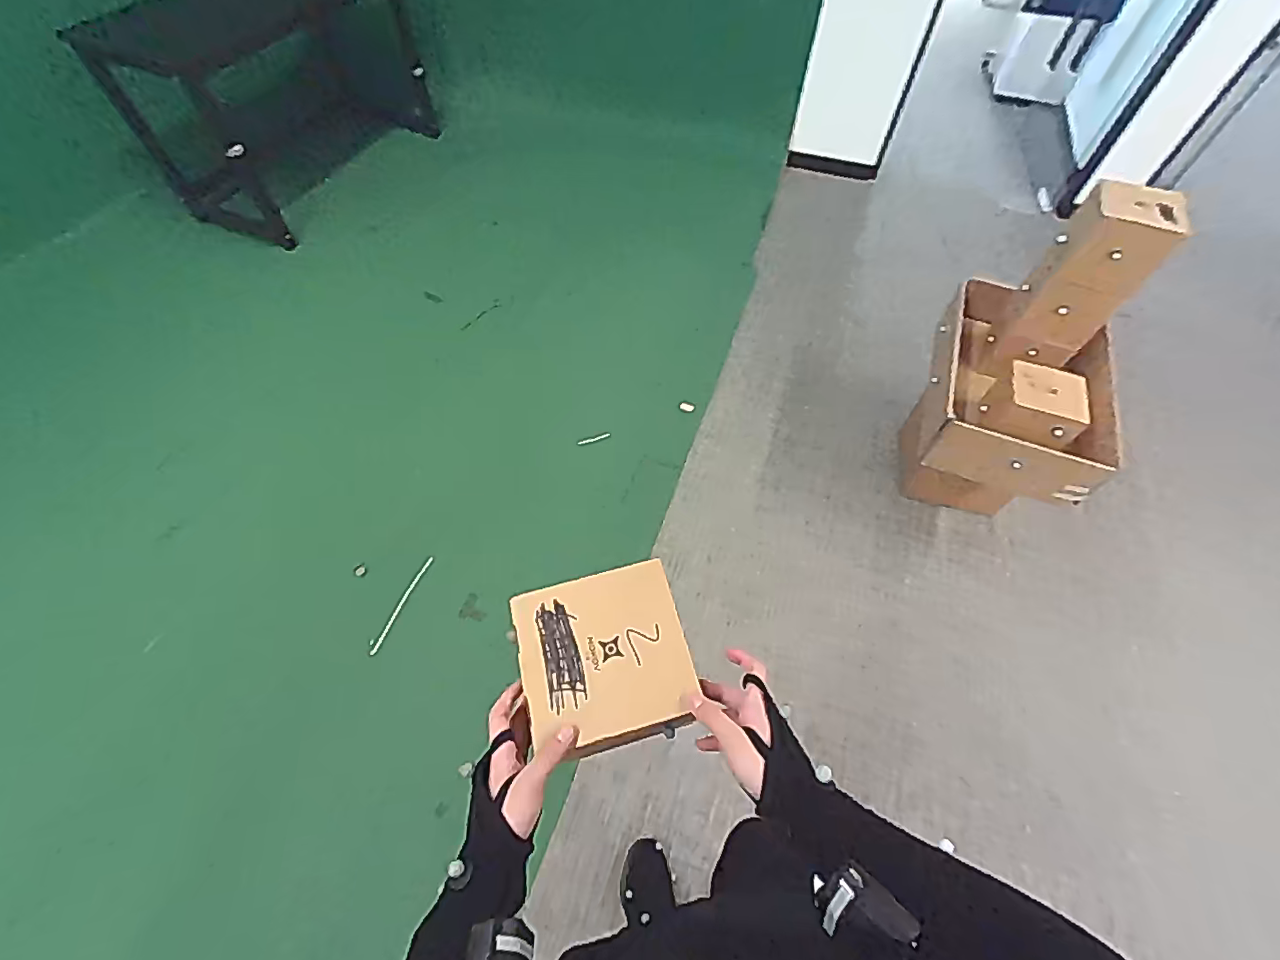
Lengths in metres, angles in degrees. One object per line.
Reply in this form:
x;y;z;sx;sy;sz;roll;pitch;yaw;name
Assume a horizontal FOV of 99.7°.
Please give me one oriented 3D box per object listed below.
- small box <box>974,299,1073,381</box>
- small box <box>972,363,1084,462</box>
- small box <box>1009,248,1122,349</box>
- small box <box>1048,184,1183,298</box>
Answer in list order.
1.101;-0.384;1.559;0.179;0.176;0.168;23;60;10;small box
1.008;-0.171;1.414;0.179;0.176;0.168;19;58;9;small box
1.109;-0.473;1.421;0.179;0.176;0.168;21;61;11;small box
1.116;-0.559;1.281;0.179;0.176;0.168;20;60;11;small box
